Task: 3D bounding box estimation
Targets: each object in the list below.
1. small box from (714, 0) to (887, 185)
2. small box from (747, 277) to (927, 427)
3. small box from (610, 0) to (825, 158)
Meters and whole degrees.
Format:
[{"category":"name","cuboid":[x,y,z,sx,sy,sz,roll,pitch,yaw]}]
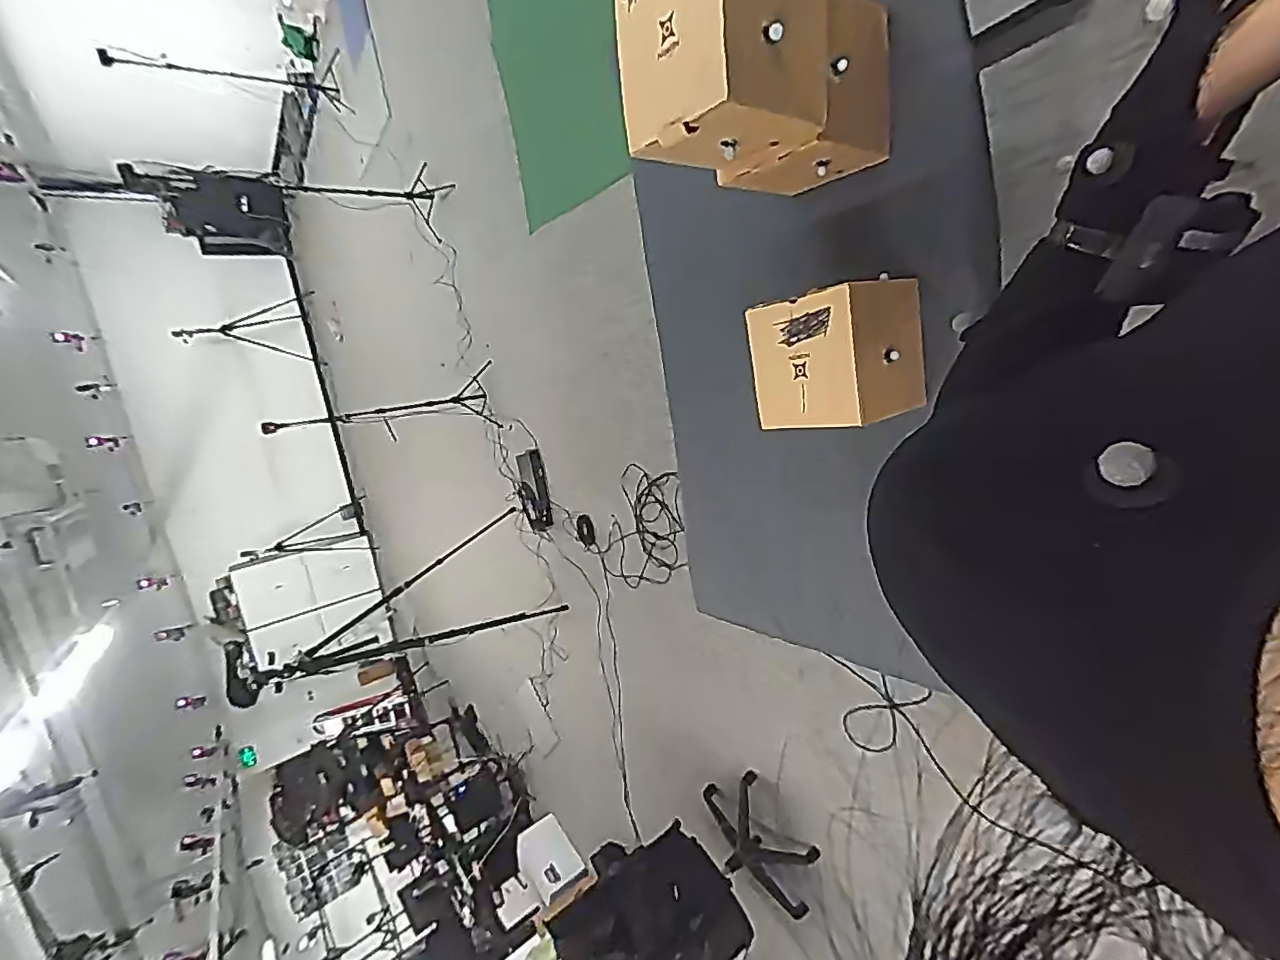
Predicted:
[{"category":"small box","cuboid":[0.208,-0.506,0.712,0.168,0.176,0.179,8,110,51]},{"category":"small box","cuboid":[0.276,-0.176,0.754,0.168,0.176,0.179,5,109,54]},{"category":"small box","cuboid":[0.089,-0.477,0.601,0.168,0.176,0.179,13,114,50]}]
